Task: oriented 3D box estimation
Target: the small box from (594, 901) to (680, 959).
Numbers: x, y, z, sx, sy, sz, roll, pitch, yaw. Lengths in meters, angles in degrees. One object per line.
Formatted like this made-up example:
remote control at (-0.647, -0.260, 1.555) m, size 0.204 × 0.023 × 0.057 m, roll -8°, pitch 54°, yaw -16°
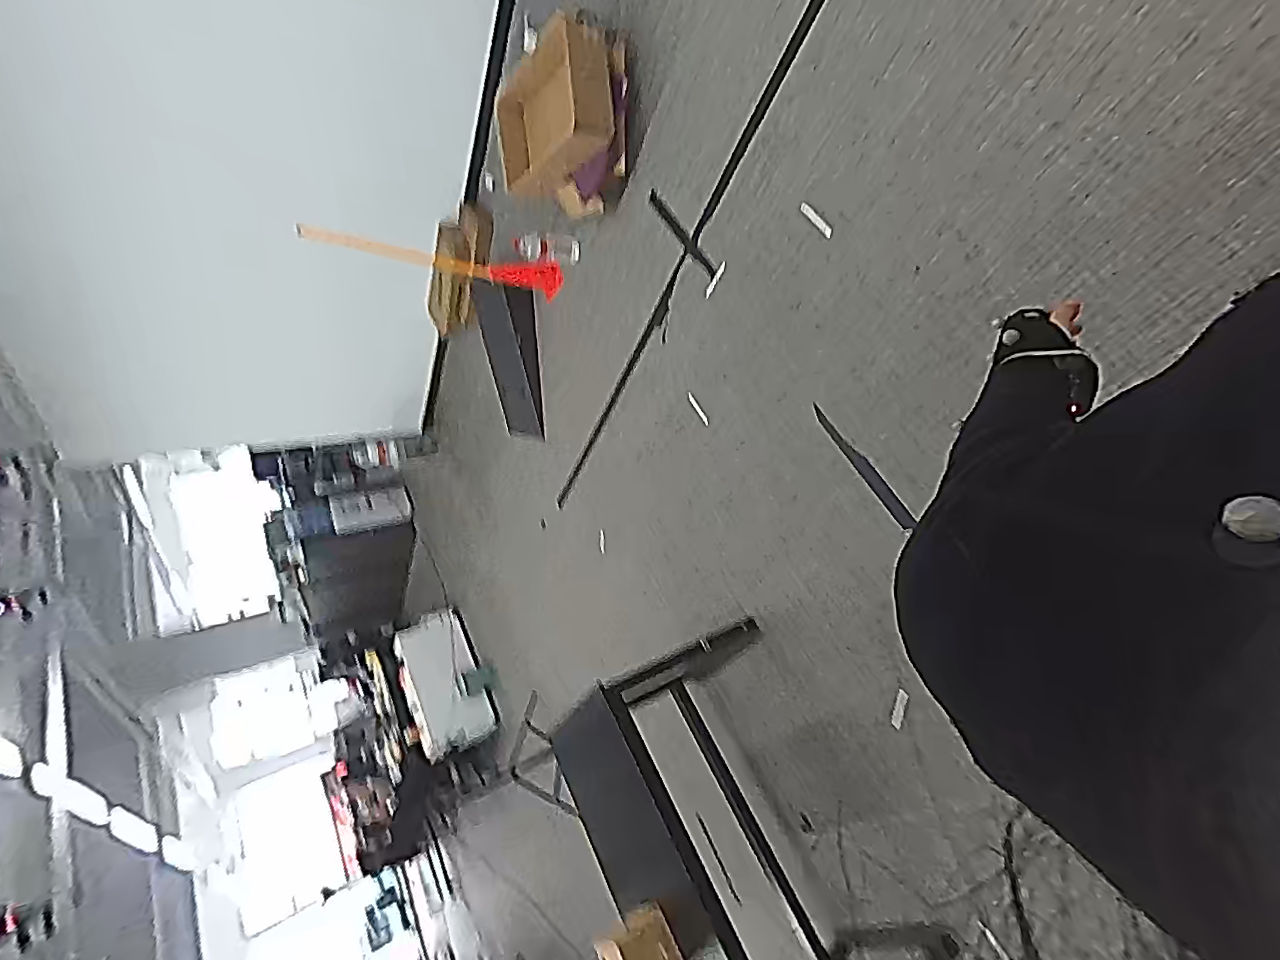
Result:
small box at (-0.008, 1.399, 1.612) m, size 0.168 × 0.176 × 0.179 m, roll 58°, pitch 139°, yaw 25°
